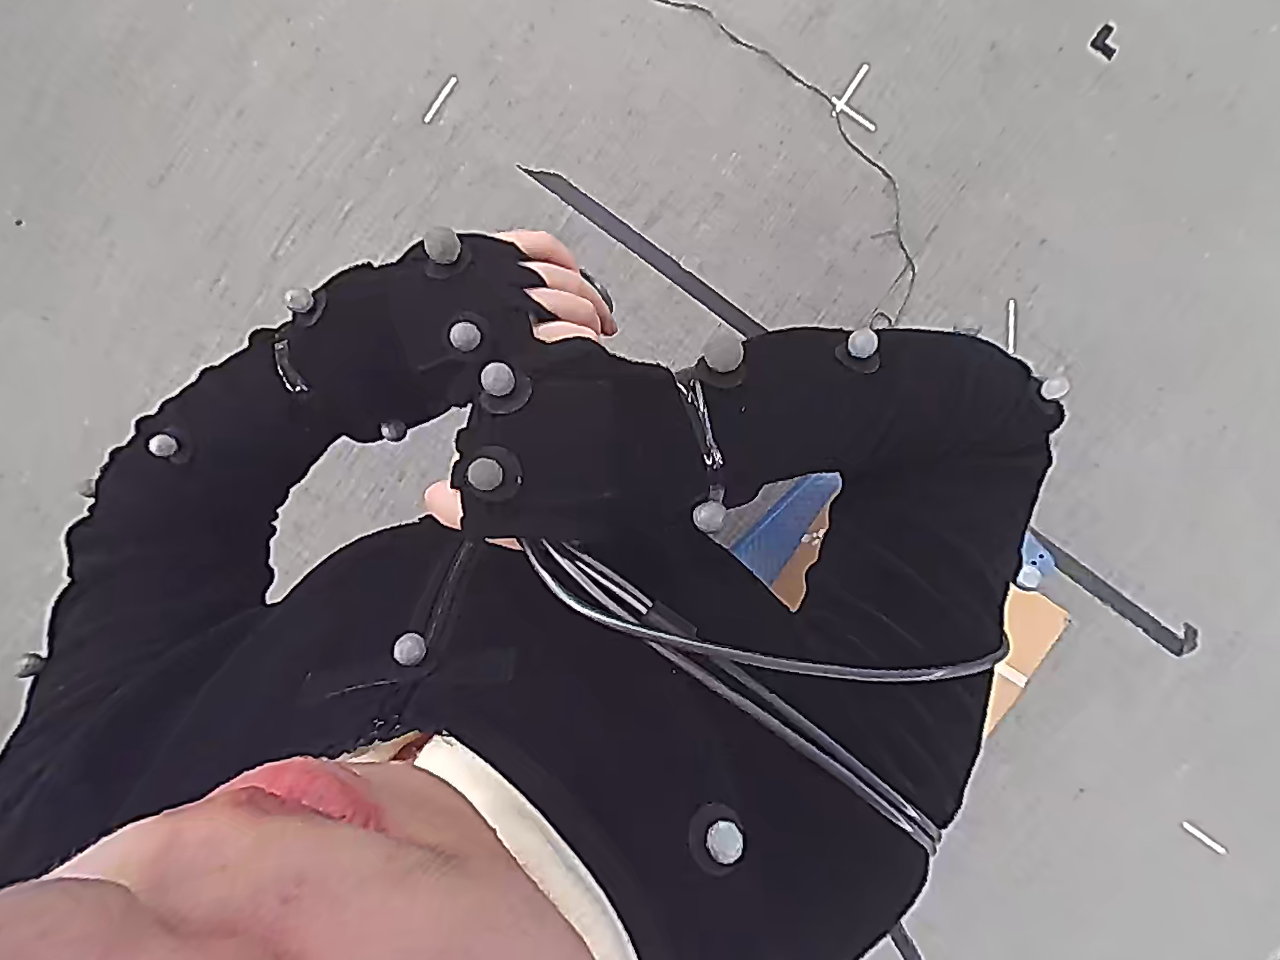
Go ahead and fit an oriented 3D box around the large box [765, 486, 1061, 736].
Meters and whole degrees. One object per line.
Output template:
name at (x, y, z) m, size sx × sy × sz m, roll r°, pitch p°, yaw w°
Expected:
large box at (0.546, 0.251, 1.168) m, size 0.408 × 0.320 × 0.320 m, roll 33°, pitch 95°, yaw -2°
